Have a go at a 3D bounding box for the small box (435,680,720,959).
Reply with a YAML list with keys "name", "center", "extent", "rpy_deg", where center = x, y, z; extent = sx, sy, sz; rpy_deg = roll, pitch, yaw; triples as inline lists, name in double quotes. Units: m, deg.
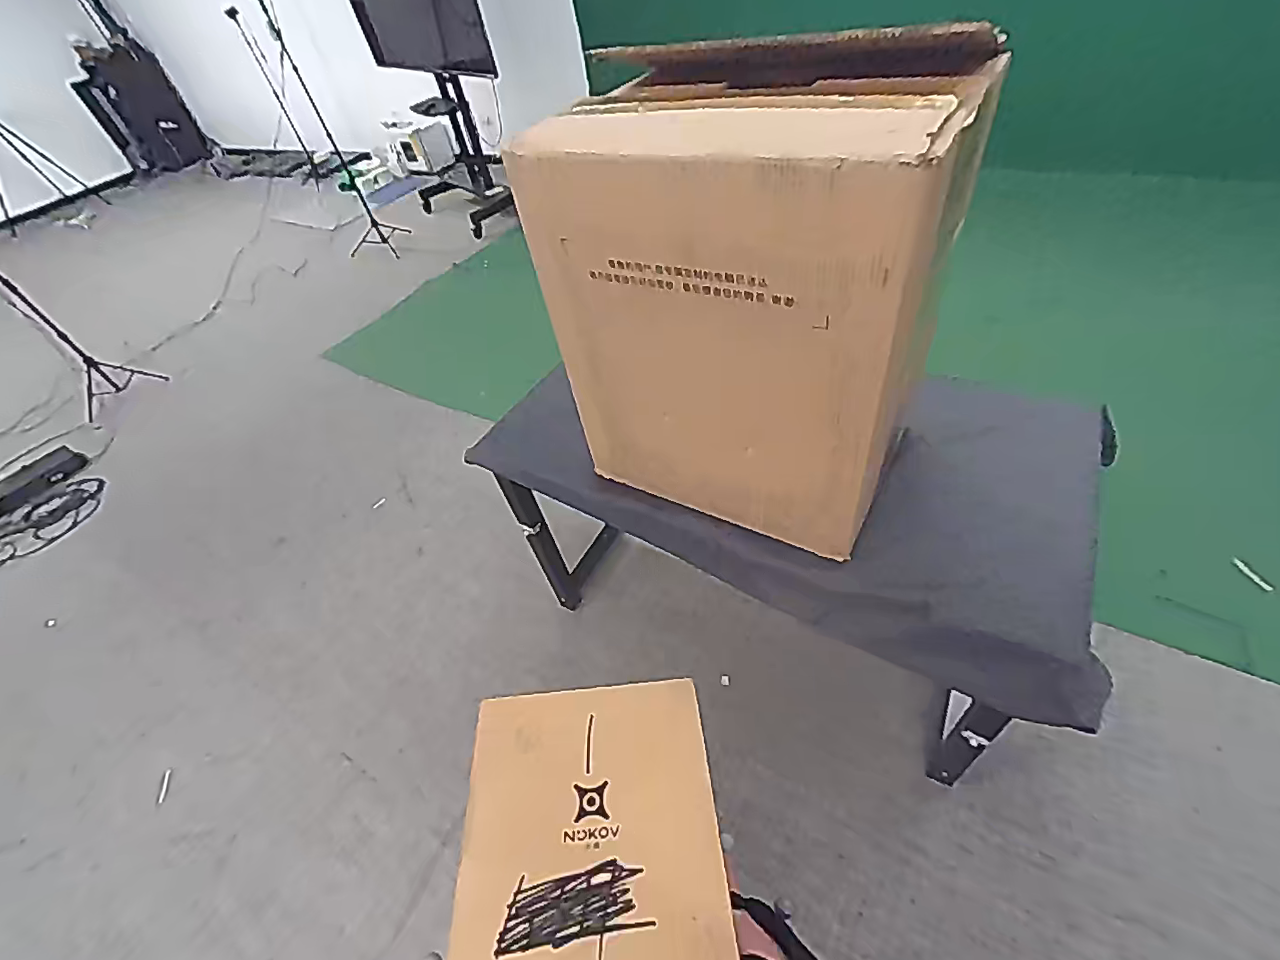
- name: "small box"
  center: [-0.035, 0.279, 0.410]
  extent: [0.168, 0.176, 0.179]
  rpy_deg: [-5, 43, -1]
